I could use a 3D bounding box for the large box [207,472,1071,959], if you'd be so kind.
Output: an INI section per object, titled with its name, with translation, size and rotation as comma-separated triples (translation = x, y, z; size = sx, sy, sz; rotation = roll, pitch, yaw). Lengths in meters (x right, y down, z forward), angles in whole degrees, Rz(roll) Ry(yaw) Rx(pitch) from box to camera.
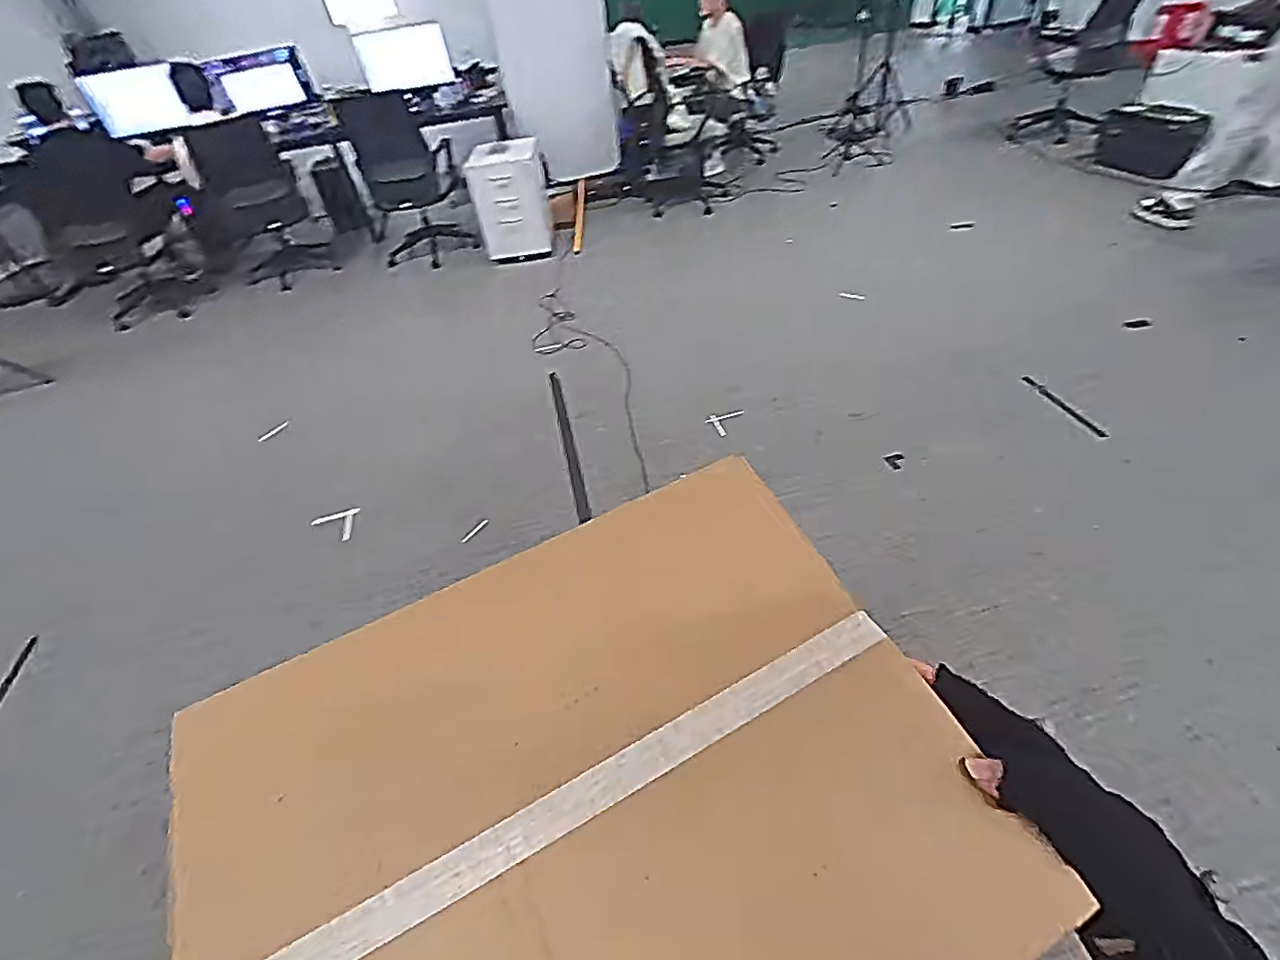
[large box]
translation = -0.017, 0.265, 0.425
size = 0.408, 0.320, 0.320
rotation = -24, 57, -12
